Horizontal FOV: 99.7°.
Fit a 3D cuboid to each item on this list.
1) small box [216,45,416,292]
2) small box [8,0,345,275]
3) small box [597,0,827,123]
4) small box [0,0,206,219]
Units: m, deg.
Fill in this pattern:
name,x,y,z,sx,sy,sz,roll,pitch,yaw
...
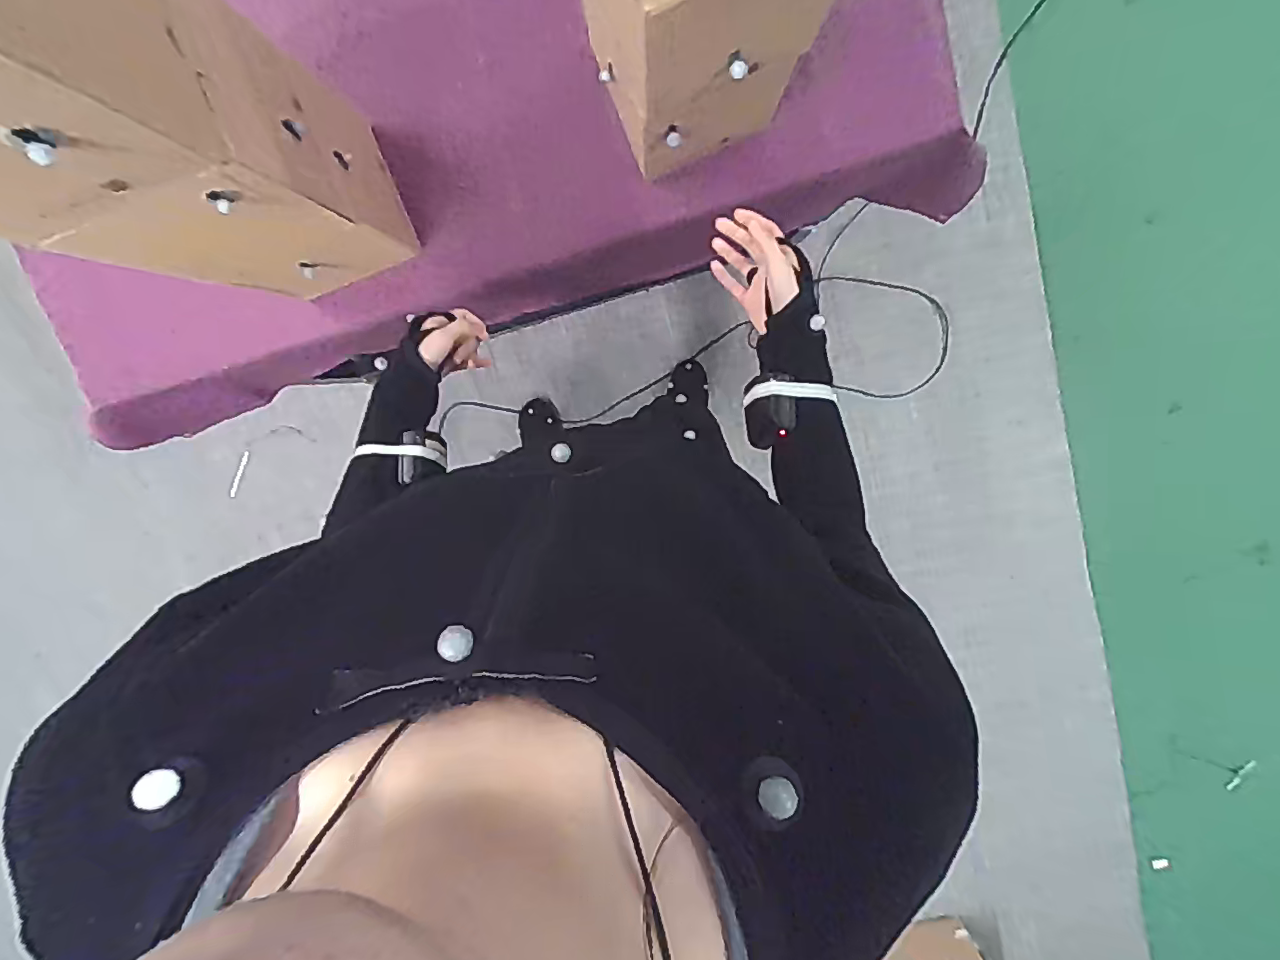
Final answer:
name,x,y,z,sx,sy,sz,roll,pitch,yaw
small box,-0.394,-0.329,0.615,0.179,0.176,0.168,-19,100,5
small box,-0.397,-0.292,0.456,0.179,0.176,0.168,-19,99,4
small box,0.044,-0.429,0.418,0.168,0.176,0.179,-22,99,6
small box,-0.399,-0.265,0.295,0.168,0.176,0.179,-17,99,3
